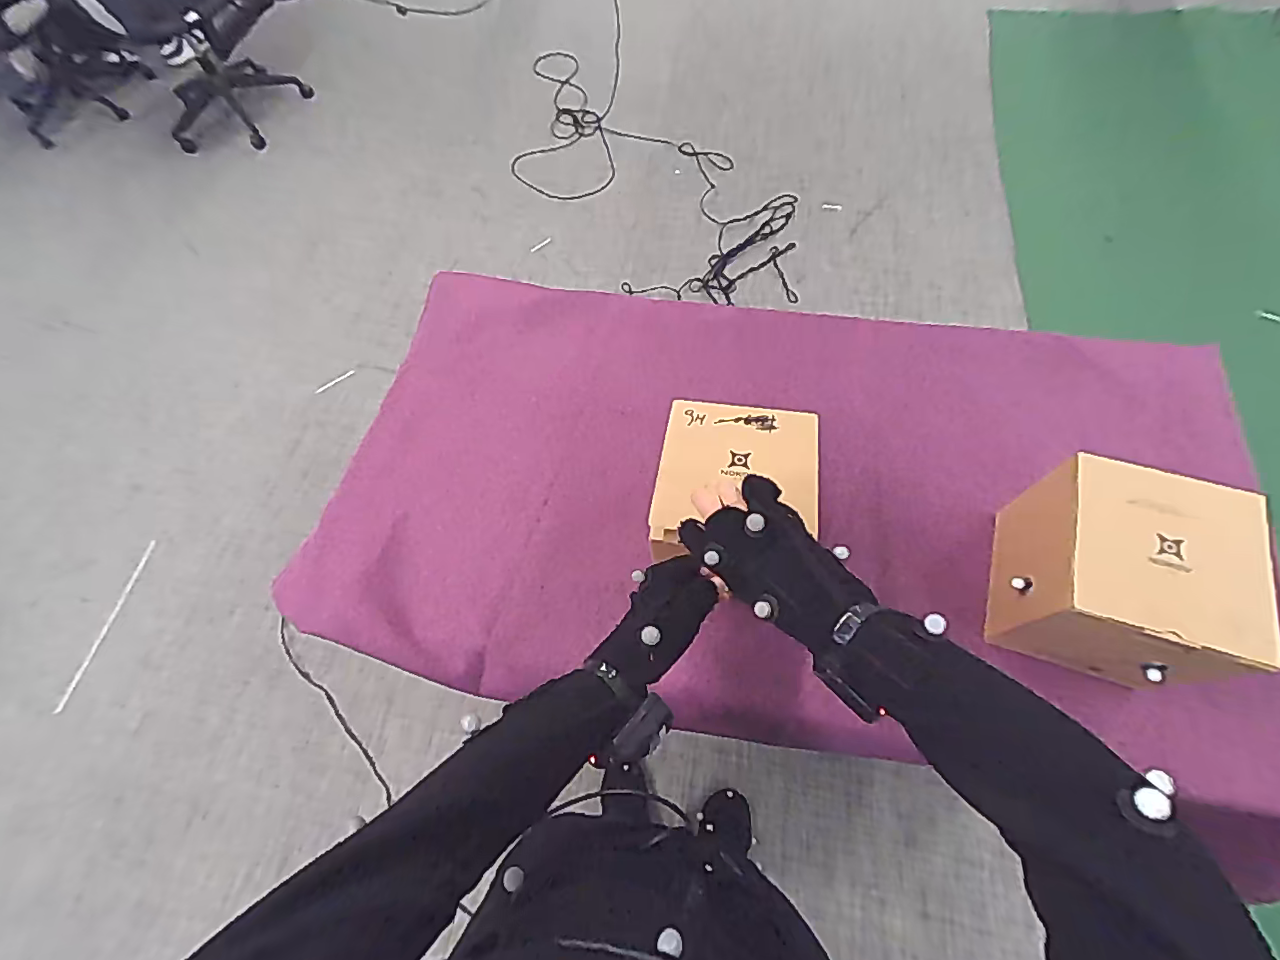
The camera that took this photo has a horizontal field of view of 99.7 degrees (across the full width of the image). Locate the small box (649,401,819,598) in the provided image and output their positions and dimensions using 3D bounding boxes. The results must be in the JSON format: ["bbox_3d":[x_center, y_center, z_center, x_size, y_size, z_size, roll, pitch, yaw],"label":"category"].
[{"bbox_3d":[0.111,0.030,0.649,0.168,0.176,0.179,7,64,9],"label":"small box"}]

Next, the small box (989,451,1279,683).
[{"bbox_3d":[0.504,0.101,0.578,0.168,0.176,0.179,17,66,13],"label":"small box"}]
